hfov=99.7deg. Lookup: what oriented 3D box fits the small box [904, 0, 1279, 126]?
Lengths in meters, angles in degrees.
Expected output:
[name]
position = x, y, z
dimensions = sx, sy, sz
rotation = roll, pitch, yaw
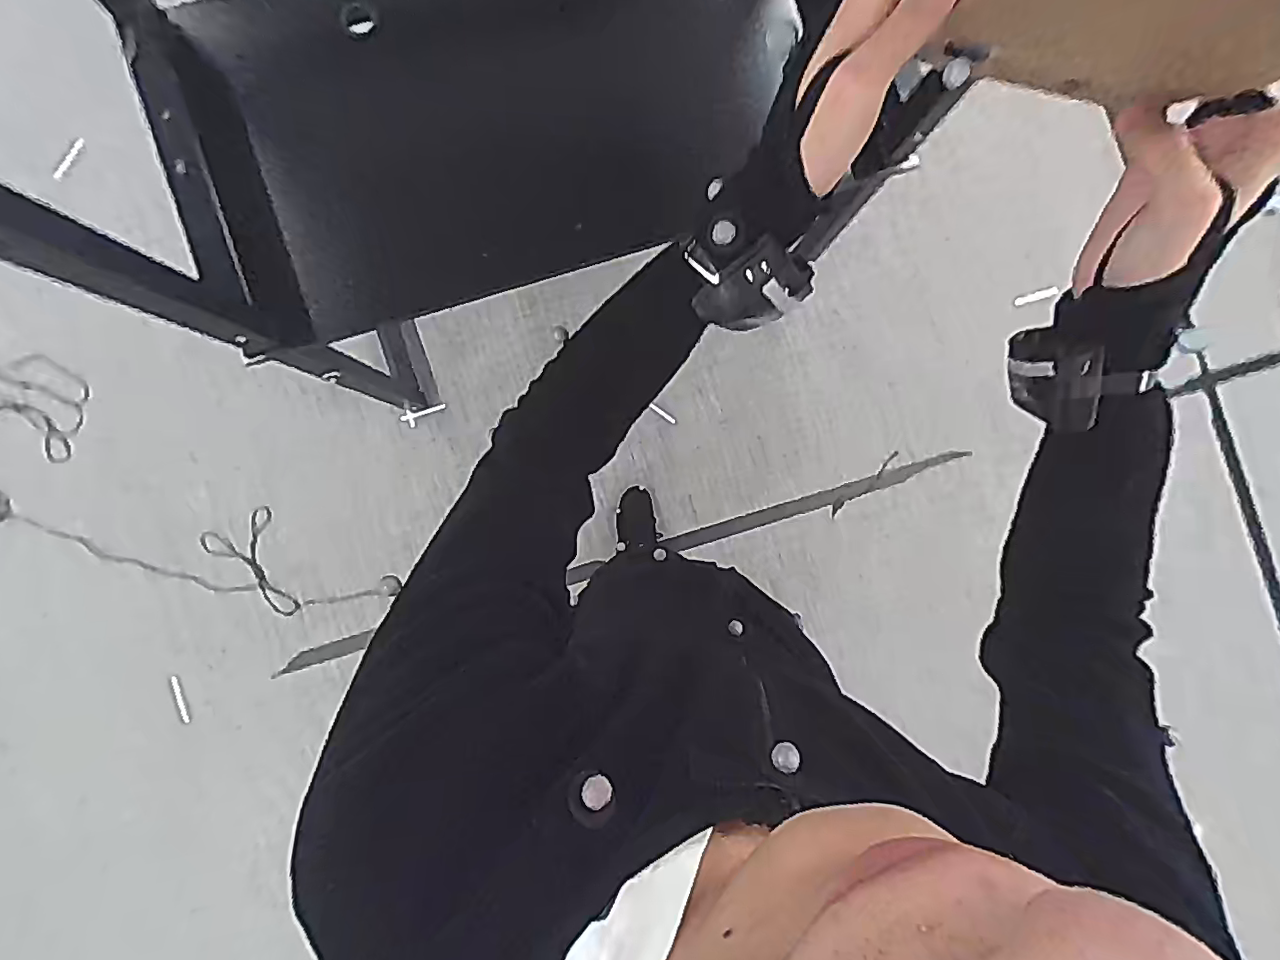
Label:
[small box]
position = 0.232, -0.256, 0.200
dimensions = 0.168, 0.176, 0.179
rotation = 6, 113, -8
